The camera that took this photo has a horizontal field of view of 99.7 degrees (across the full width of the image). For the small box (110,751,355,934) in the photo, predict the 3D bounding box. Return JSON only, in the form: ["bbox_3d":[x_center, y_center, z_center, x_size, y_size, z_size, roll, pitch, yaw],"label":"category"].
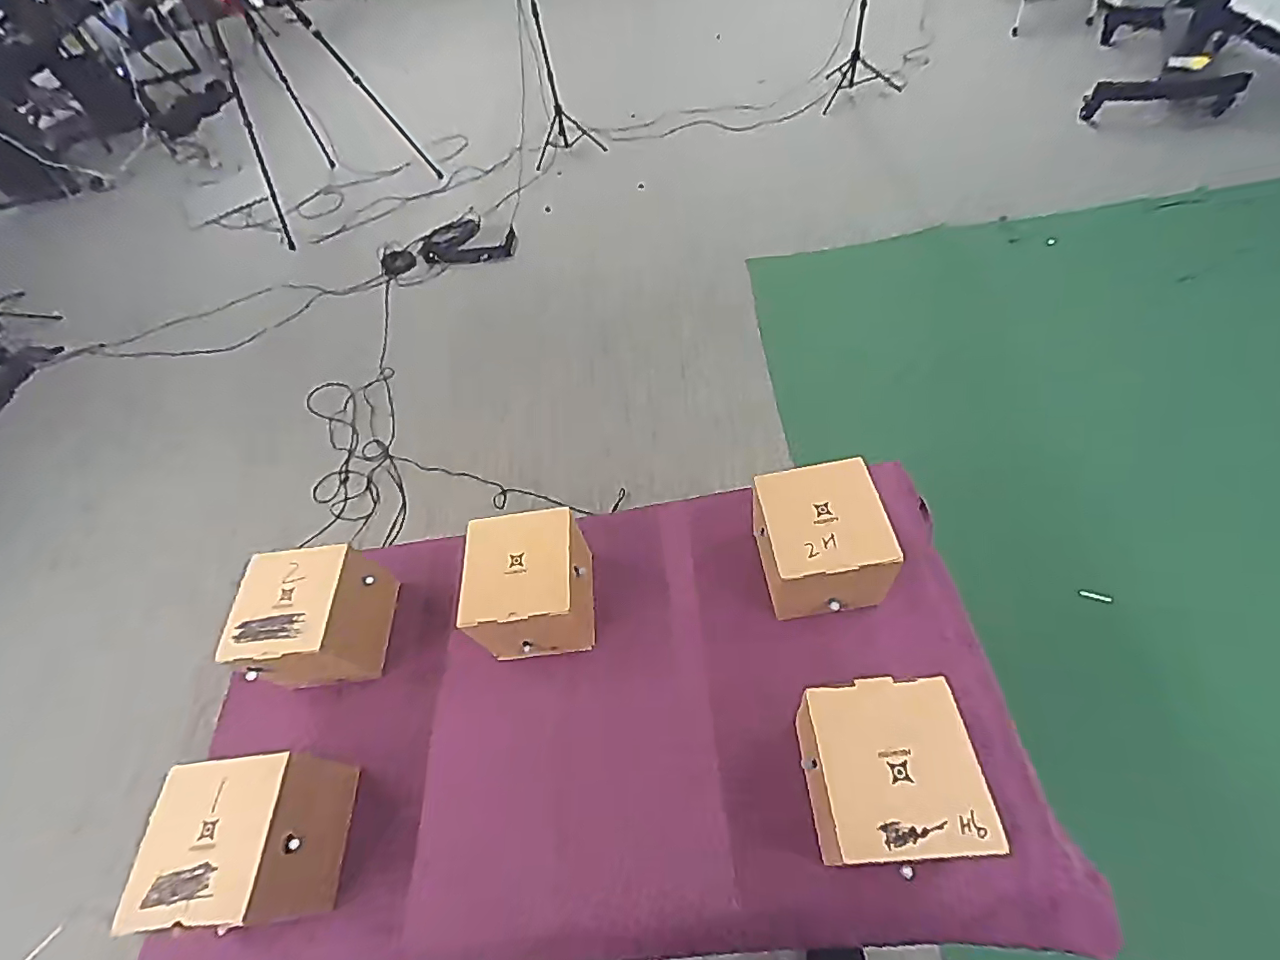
[{"bbox_3d":[-0.510,0.471,0.712,0.168,0.176,0.179,-8,54,4],"label":"small box"}]

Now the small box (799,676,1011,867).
[{"bbox_3d":[0.297,0.357,0.656,0.168,0.176,0.179,-7,53,6],"label":"small box"}]

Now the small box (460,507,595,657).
[{"bbox_3d":[-0.169,0.167,0.869,0.168,0.176,0.179,-8,56,3],"label":"small box"}]

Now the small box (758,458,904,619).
[{"bbox_3d":[0.279,0.095,0.837,0.168,0.176,0.179,-11,55,6],"label":"small box"}]
